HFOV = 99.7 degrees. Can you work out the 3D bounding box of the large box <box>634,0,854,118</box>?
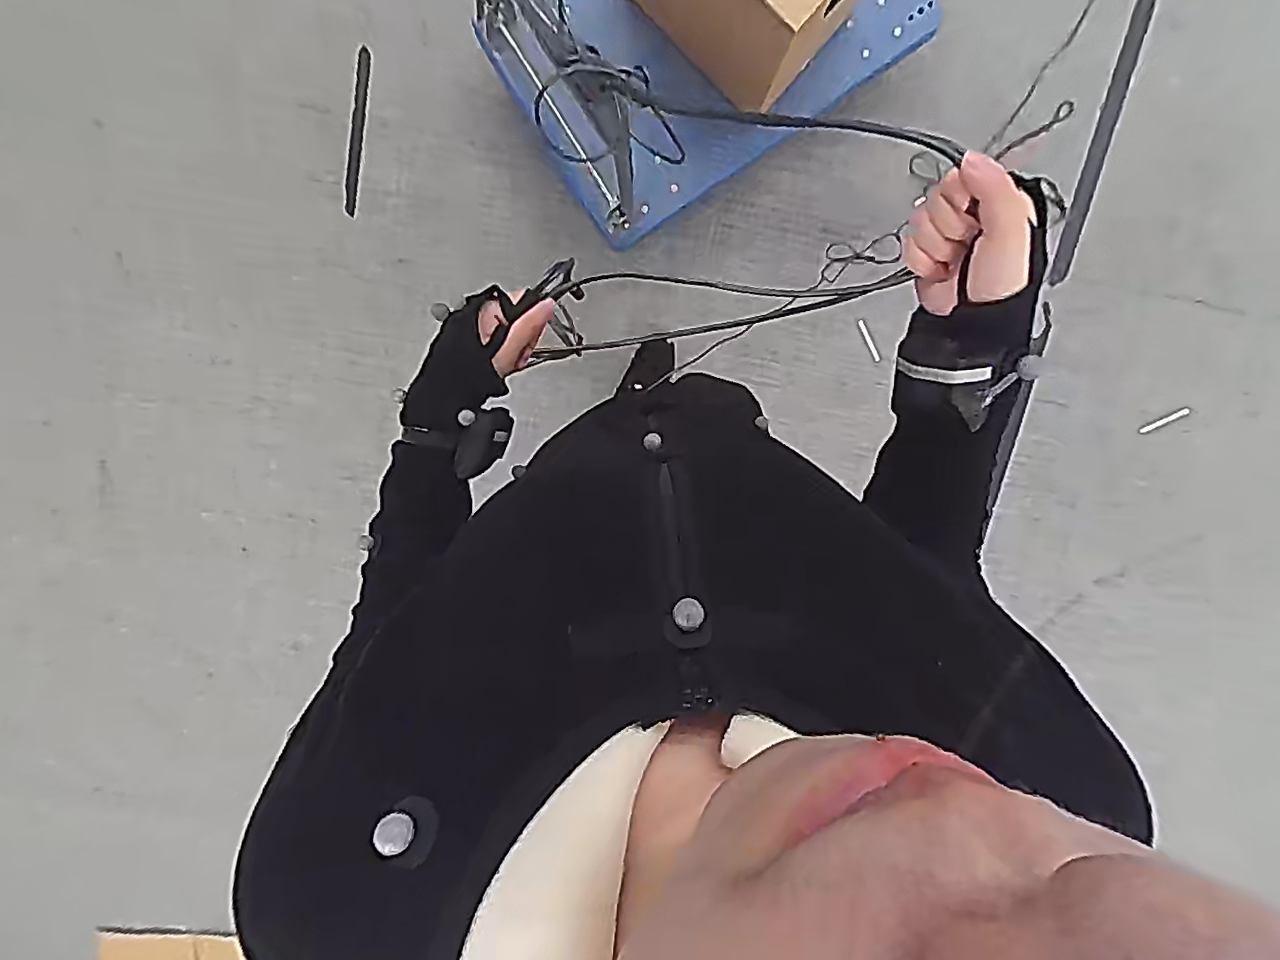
[{"bbox_3d":[0.206,-1.004,1.003,0.408,0.320,0.320,41,97,-8],"label":"large box"}]
